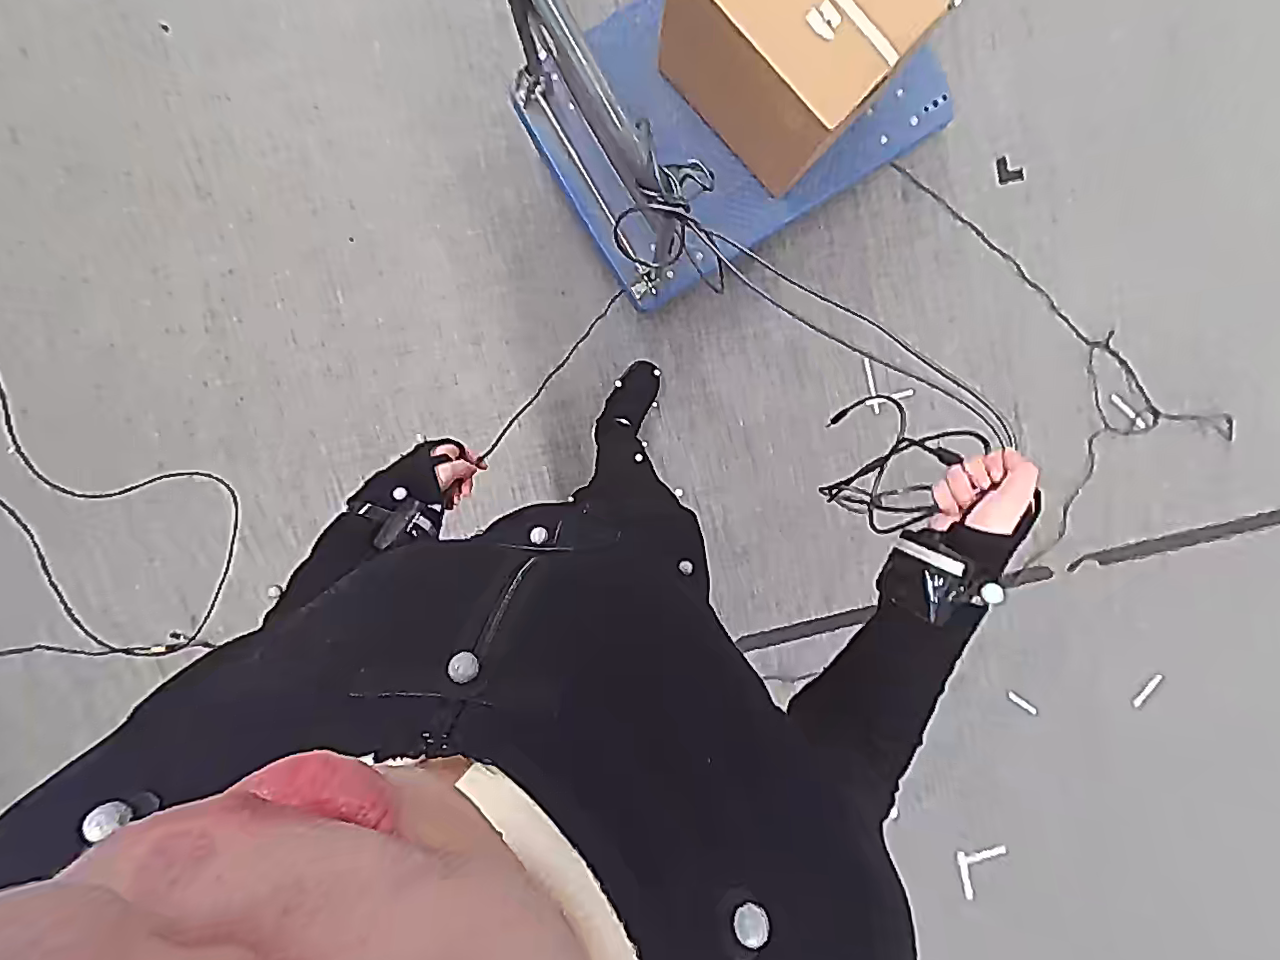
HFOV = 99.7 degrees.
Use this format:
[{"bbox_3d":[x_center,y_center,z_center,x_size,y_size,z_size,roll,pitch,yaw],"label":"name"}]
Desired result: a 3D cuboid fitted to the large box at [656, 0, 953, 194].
[{"bbox_3d":[0.288,-0.875,1.063,0.408,0.320,0.320,44,94,-8],"label":"large box"}]
